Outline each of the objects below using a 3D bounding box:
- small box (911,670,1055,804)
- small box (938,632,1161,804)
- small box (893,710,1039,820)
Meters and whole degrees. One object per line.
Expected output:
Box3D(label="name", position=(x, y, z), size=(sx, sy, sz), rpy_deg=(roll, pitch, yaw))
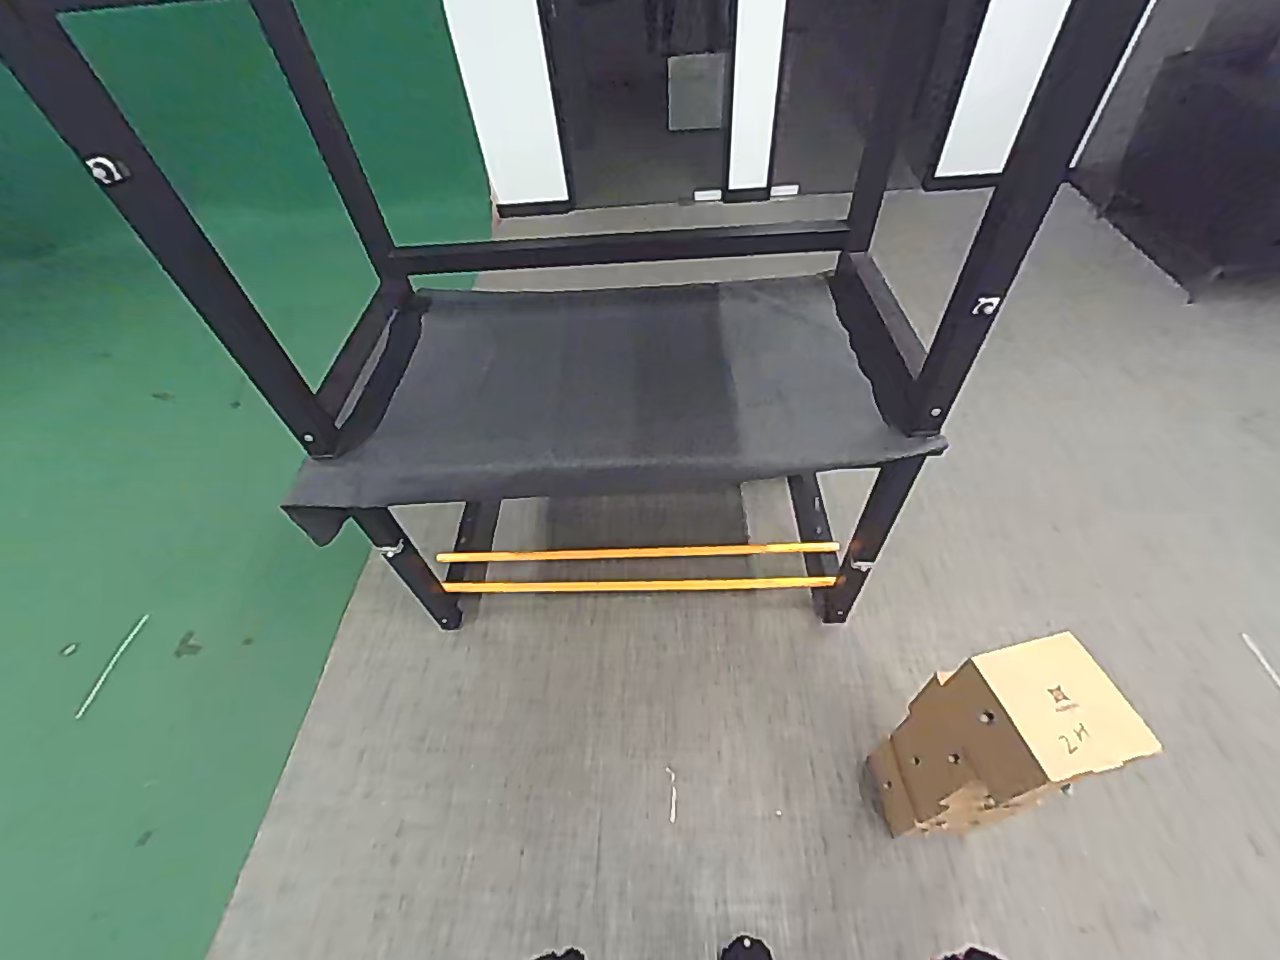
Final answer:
Box3D(label="small box", position=(0.603, 0.451, 0.949), size=(0.168, 0.176, 0.179), rpy_deg=(-2, 50, 4))
Box3D(label="small box", position=(0.590, 0.359, 0.813), size=(0.168, 0.176, 0.179), rpy_deg=(-12, 50, -4))
Box3D(label="small box", position=(0.628, 0.560, 1.067), size=(0.168, 0.176, 0.179), rpy_deg=(-4, 48, 2))
